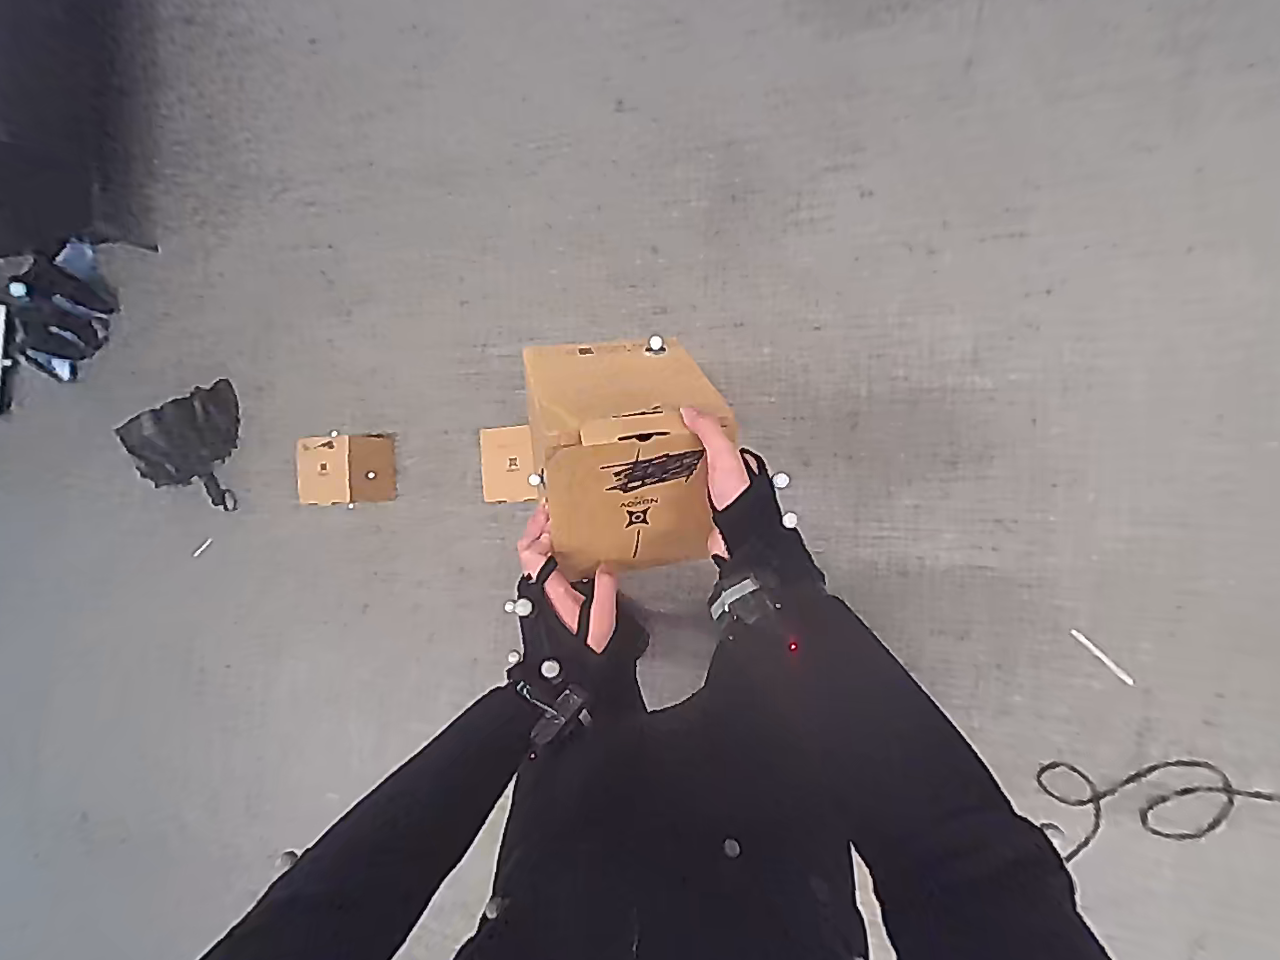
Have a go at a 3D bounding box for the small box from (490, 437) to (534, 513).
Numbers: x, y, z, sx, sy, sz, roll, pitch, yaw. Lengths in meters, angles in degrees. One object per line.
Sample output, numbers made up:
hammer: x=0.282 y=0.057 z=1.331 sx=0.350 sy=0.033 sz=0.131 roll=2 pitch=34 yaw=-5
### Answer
small box: x=-0.250 y=-0.013 z=1.336 sx=0.168 sy=0.176 sz=0.179 roll=-5 pitch=86 yaw=16

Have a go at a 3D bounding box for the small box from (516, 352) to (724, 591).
small box: x=-0.029 y=-0.019 z=0.549 sx=0.168 sy=0.176 sz=0.179 roll=-8 pitch=129 yaw=-12

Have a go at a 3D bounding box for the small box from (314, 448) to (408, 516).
small box: x=-0.767 y=0.007 z=1.499 sx=0.168 sy=0.176 sz=0.179 roll=-3 pitch=88 yaw=17
